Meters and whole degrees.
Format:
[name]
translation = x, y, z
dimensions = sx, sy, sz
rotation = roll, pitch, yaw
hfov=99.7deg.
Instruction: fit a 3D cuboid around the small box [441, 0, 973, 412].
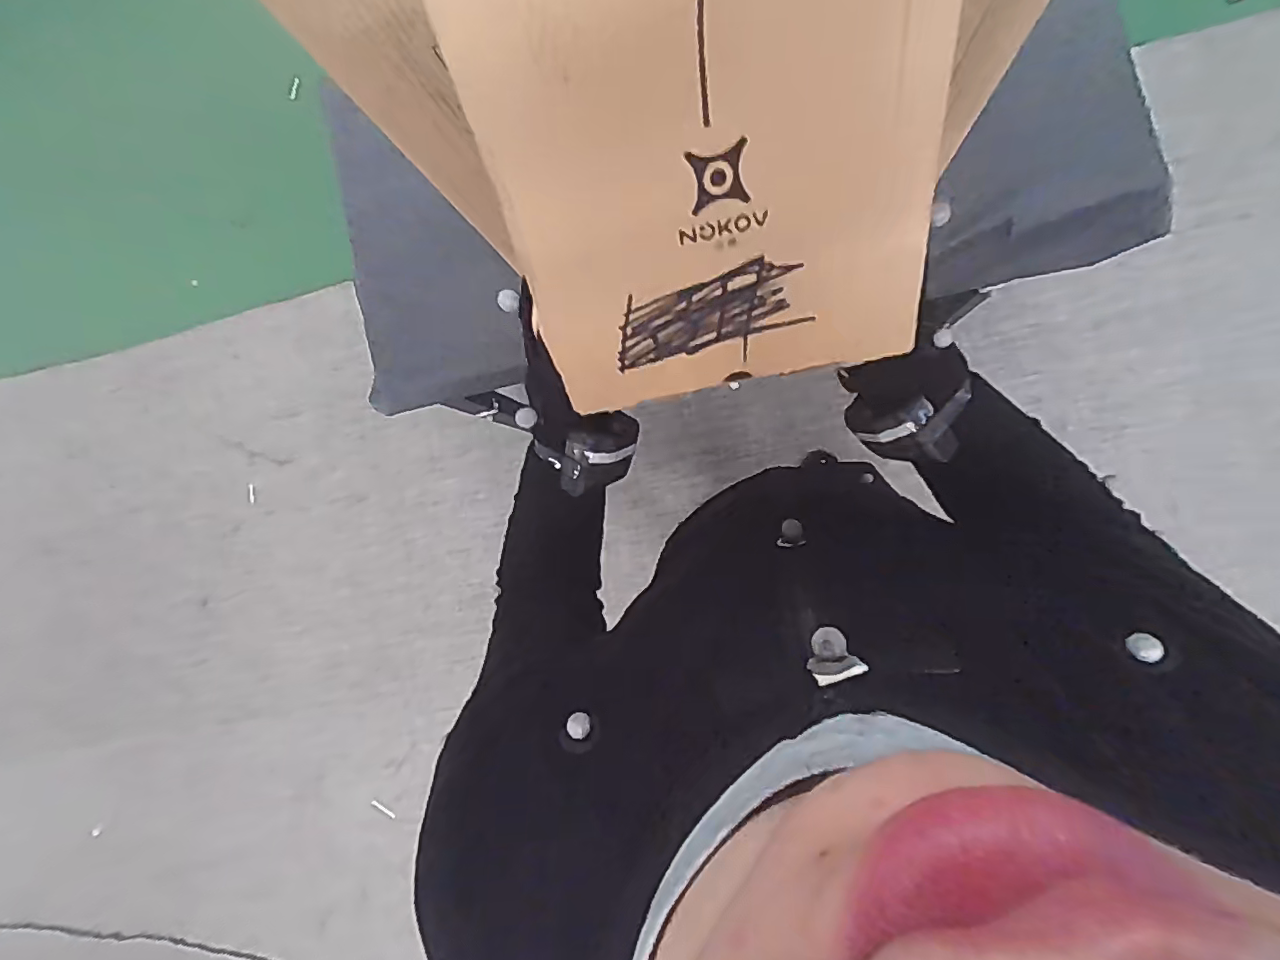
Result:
[small box]
translation = 0.031, -0.164, 0.267
dimensions = 0.168, 0.179, 0.176
rotation = -11, 42, 7
